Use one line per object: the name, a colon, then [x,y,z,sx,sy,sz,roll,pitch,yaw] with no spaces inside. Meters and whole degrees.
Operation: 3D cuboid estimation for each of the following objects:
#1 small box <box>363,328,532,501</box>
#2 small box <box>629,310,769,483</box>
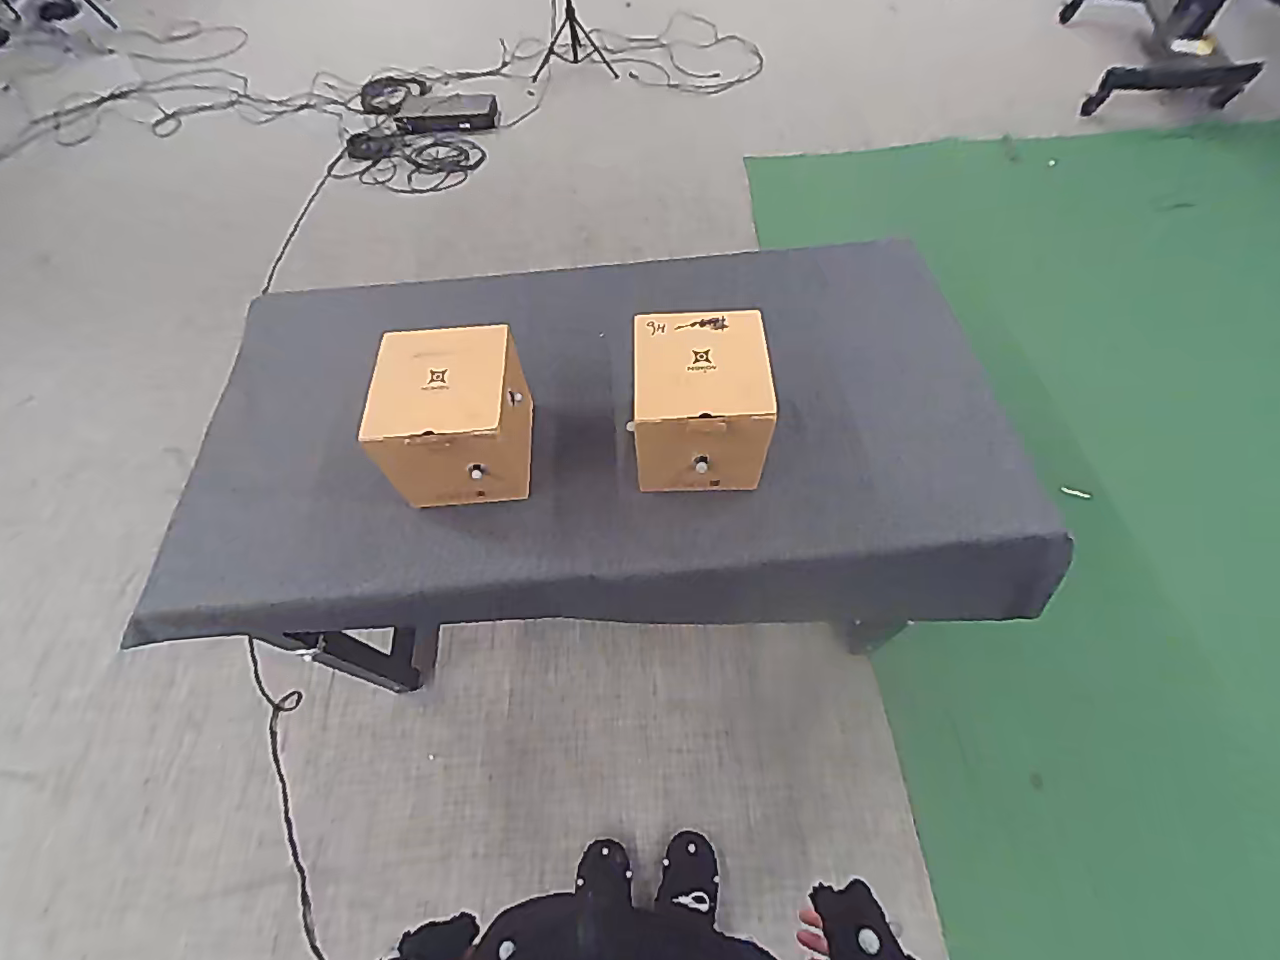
small box: [-0.249,-0.081,0.746,0.168,0.176,0.179,-5,59,0]
small box: [0.075,-0.104,0.735,0.168,0.176,0.179,-2,61,3]
